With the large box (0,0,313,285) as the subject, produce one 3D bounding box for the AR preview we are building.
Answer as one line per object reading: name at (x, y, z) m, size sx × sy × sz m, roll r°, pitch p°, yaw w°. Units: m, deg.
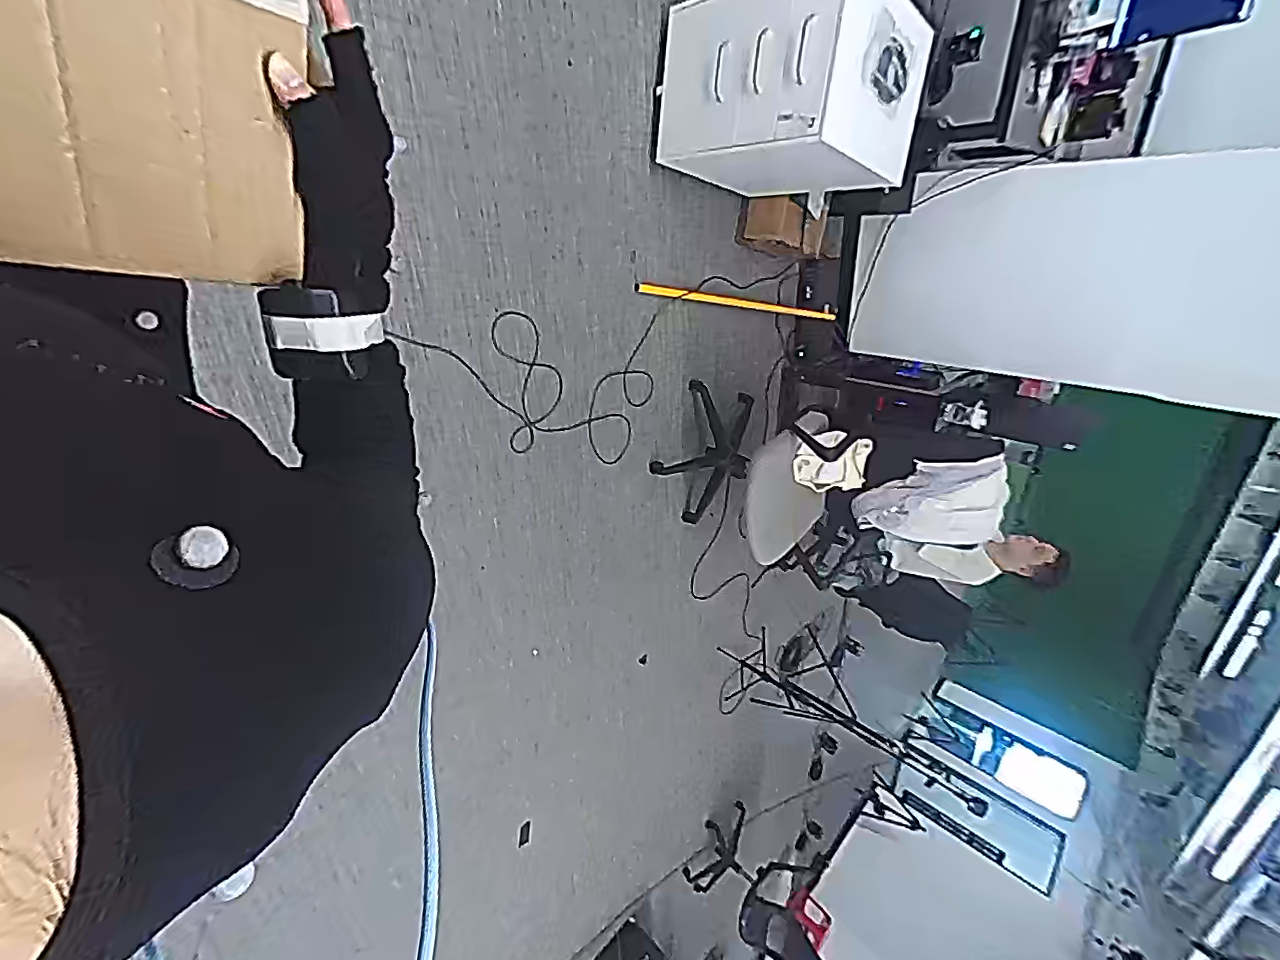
large box at (-0.421, -0.314, 0.249) m, size 0.408 × 0.320 × 0.320 m, roll -11°, pitch 134°, yaw -44°
